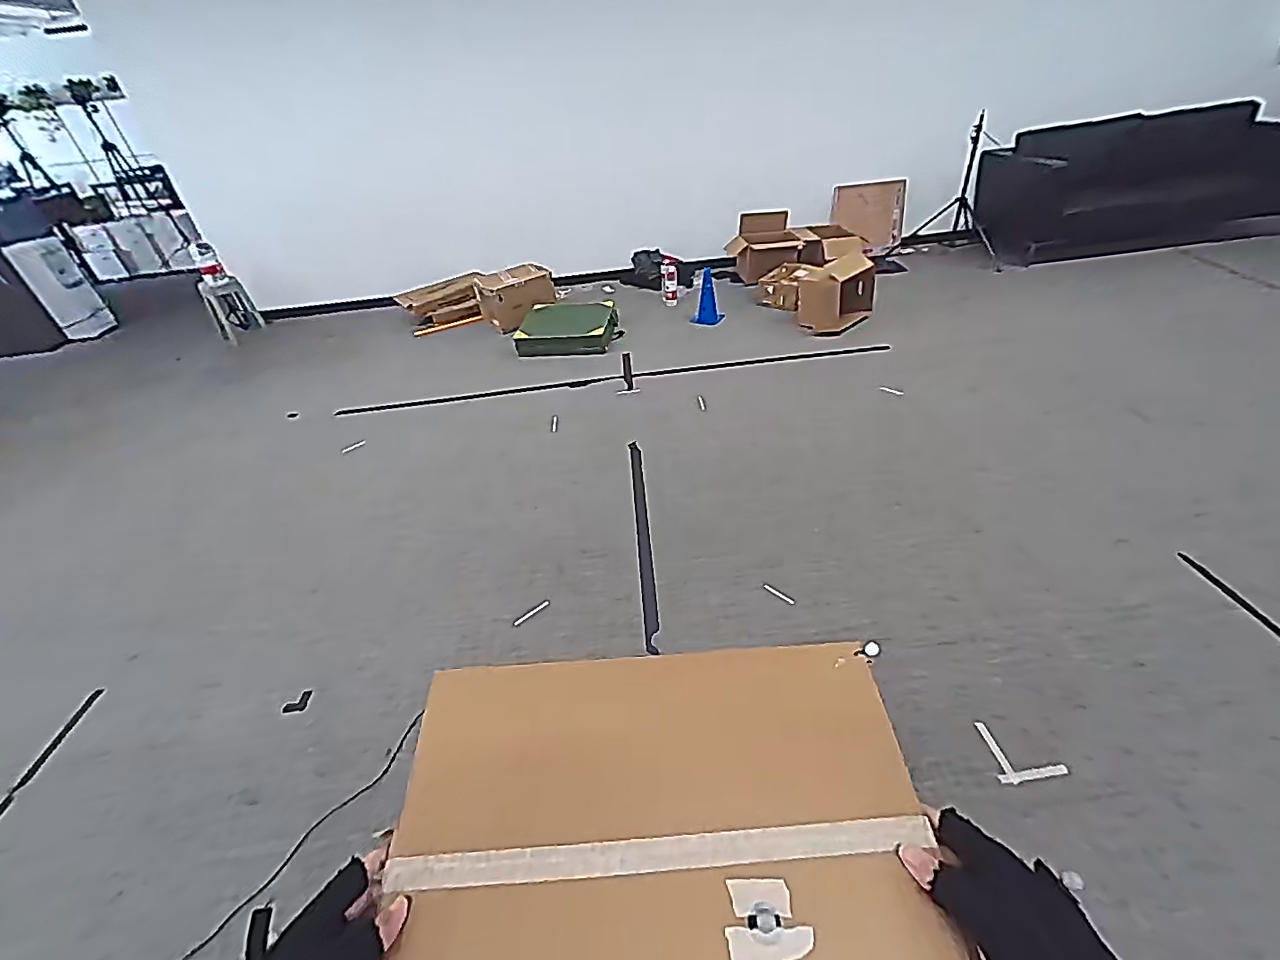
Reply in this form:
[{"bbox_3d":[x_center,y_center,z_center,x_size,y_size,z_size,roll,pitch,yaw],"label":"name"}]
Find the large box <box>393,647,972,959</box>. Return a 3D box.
[{"bbox_3d":[0.025,0.391,0.518,0.408,0.320,0.320,-4,46,-2],"label":"large box"}]
